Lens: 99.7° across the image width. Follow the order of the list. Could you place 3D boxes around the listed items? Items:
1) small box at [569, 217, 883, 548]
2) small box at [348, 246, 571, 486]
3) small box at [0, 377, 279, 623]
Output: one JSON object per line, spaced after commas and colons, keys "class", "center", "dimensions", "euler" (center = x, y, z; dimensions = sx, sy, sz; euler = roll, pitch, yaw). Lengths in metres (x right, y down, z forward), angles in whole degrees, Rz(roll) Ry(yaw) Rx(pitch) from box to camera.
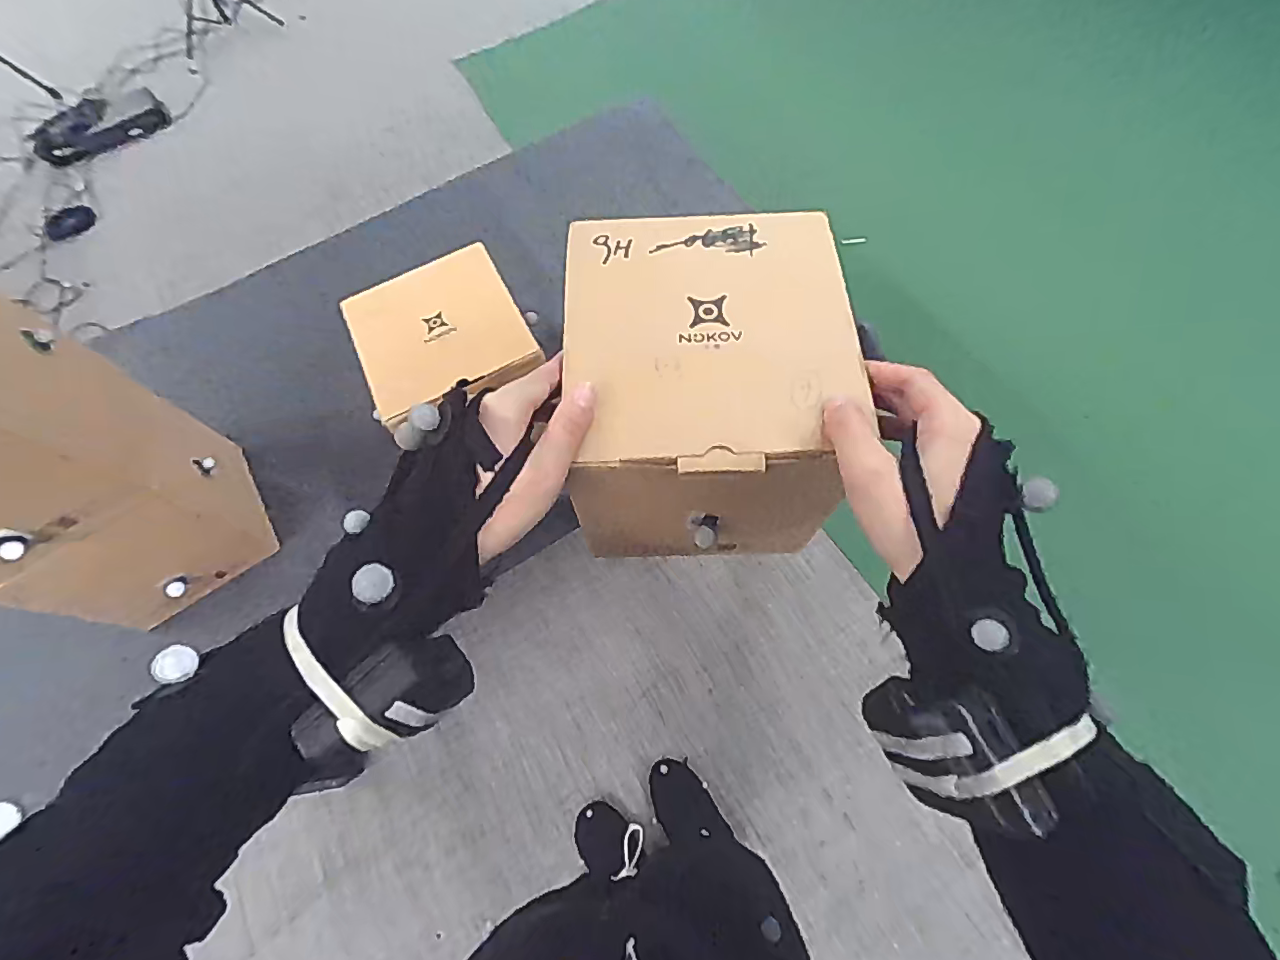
{"class": "small box", "center": [0.046, -0.053, 0.384], "dimensions": [0.168, 0.176, 0.179], "euler": [-2, 66, 1]}
{"class": "small box", "center": [-0.197, -0.124, 0.627], "dimensions": [0.168, 0.176, 0.179], "euler": [-27, 66, -8]}
{"class": "small box", "center": [-0.542, 0.030, 0.587], "dimensions": [0.168, 0.176, 0.179], "euler": [-34, 67, -10]}
